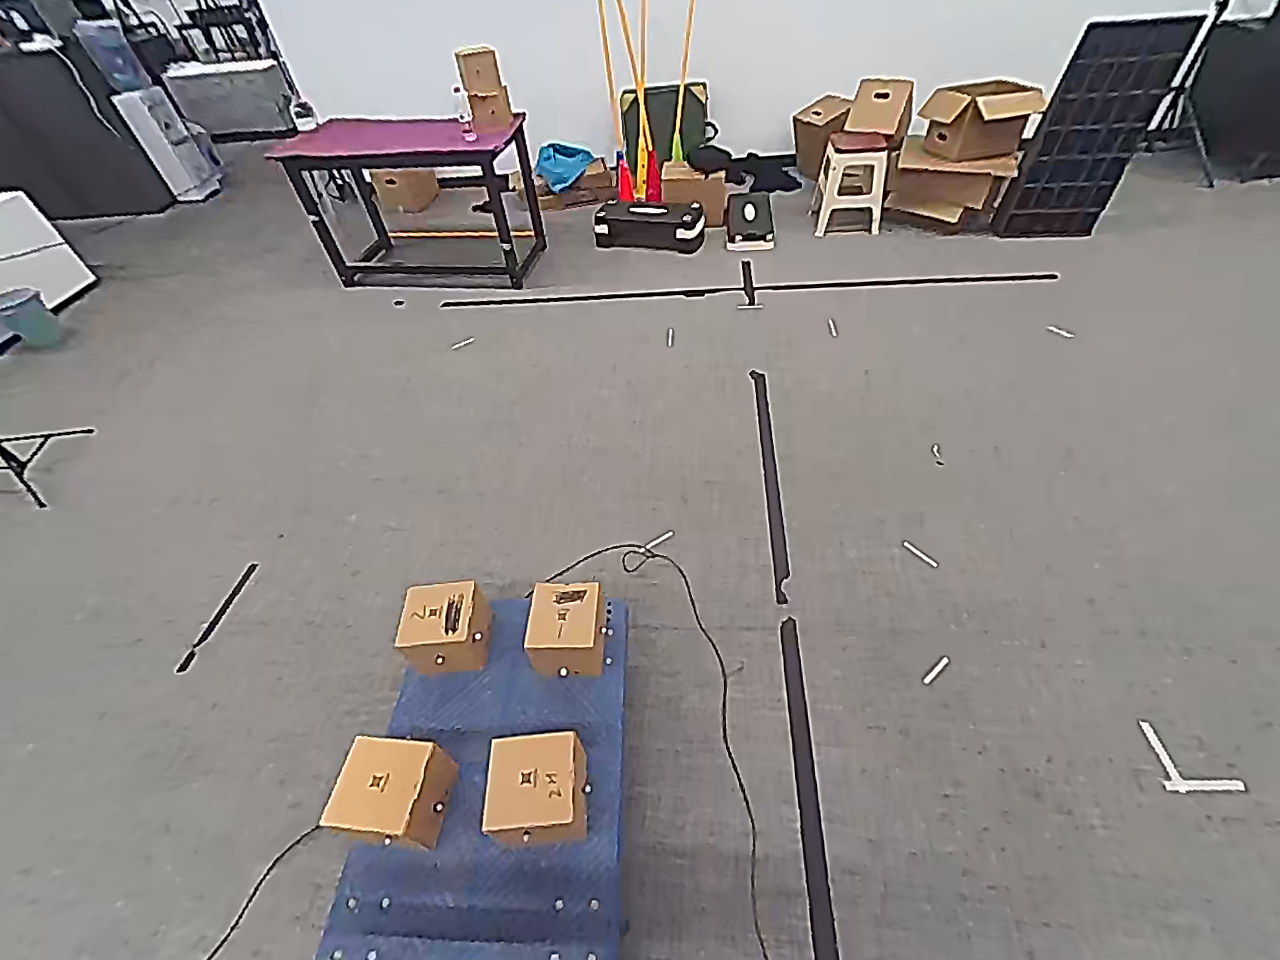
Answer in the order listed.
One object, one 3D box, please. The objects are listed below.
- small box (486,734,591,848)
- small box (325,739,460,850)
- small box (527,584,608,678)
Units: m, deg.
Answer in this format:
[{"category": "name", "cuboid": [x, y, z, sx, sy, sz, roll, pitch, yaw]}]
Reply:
[{"category": "small box", "cuboid": [-0.201, 0.646, 1.120, 0.179, 0.176, 0.168, -6, 47, 1]}, {"category": "small box", "cuboid": [-0.507, 0.664, 1.137, 0.179, 0.176, 0.168, 1, 48, 6]}, {"category": "small box", "cuboid": [-0.174, 0.381, 1.363, 0.168, 0.176, 0.179, -2, 48, 4]}]
